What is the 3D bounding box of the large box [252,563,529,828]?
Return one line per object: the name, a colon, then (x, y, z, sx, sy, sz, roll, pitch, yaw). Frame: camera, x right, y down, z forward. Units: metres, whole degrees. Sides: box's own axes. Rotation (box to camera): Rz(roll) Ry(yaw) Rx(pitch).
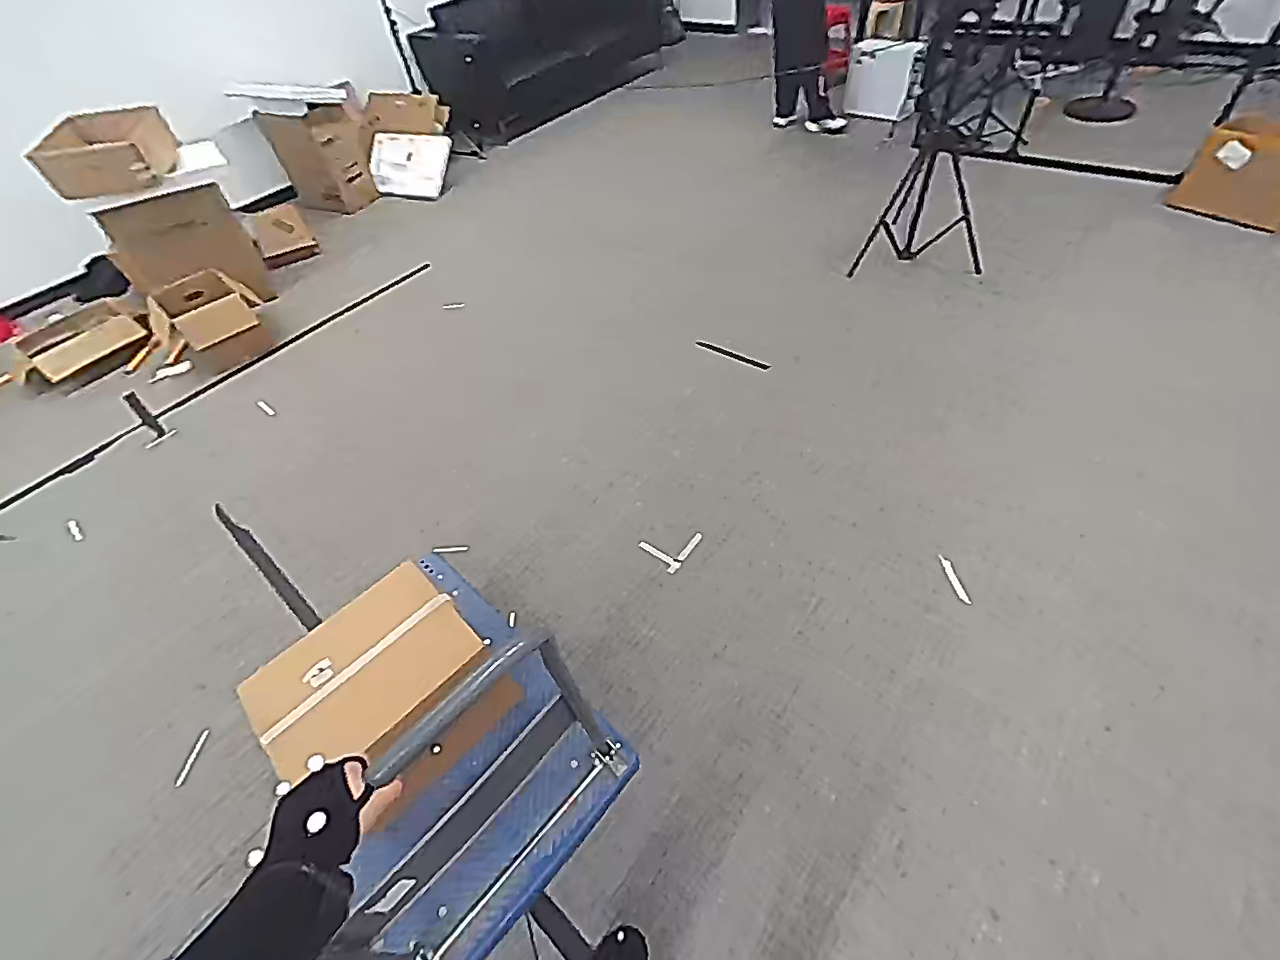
large box: (-0.526, 0.474, 1.210, 0.320, 0.320, 0.408, 34, 63, 31)
